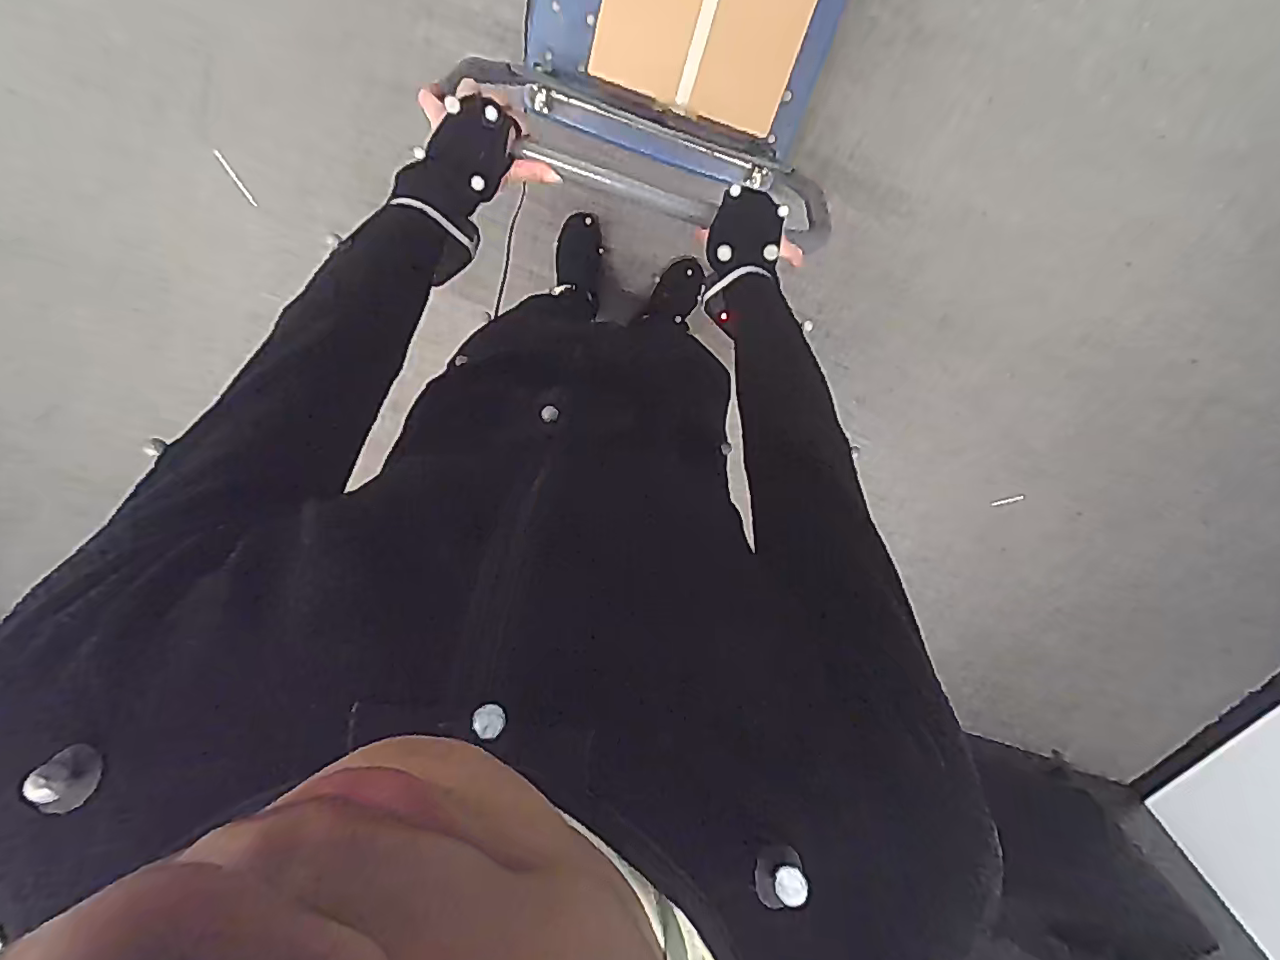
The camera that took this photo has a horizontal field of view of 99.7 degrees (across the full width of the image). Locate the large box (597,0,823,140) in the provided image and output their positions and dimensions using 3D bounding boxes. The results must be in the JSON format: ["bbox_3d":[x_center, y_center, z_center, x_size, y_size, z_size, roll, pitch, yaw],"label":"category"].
[{"bbox_3d":[0.136,-0.844,0.905,0.320,0.320,0.408,15,120,-8],"label":"large box"}]
